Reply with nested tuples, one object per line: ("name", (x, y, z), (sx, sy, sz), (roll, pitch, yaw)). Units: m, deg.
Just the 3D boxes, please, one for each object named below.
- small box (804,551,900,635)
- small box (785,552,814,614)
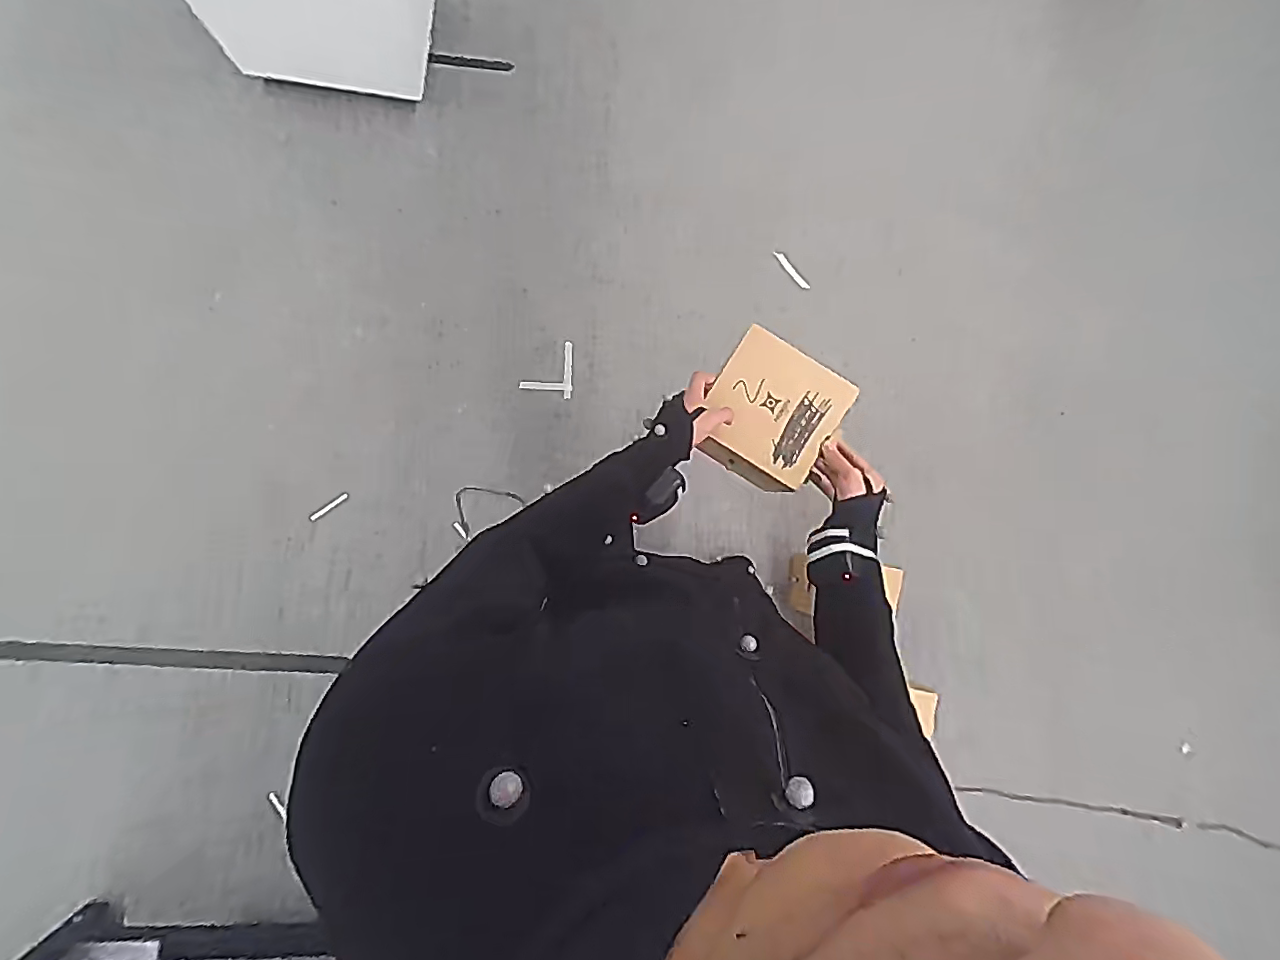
("small box", (0.561, 0.297, 1.453), (0.168, 0.176, 0.179), (14, 85, -6))
("small box", (0.557, 0.313, 1.617), (0.179, 0.176, 0.168), (10, 86, -5))
